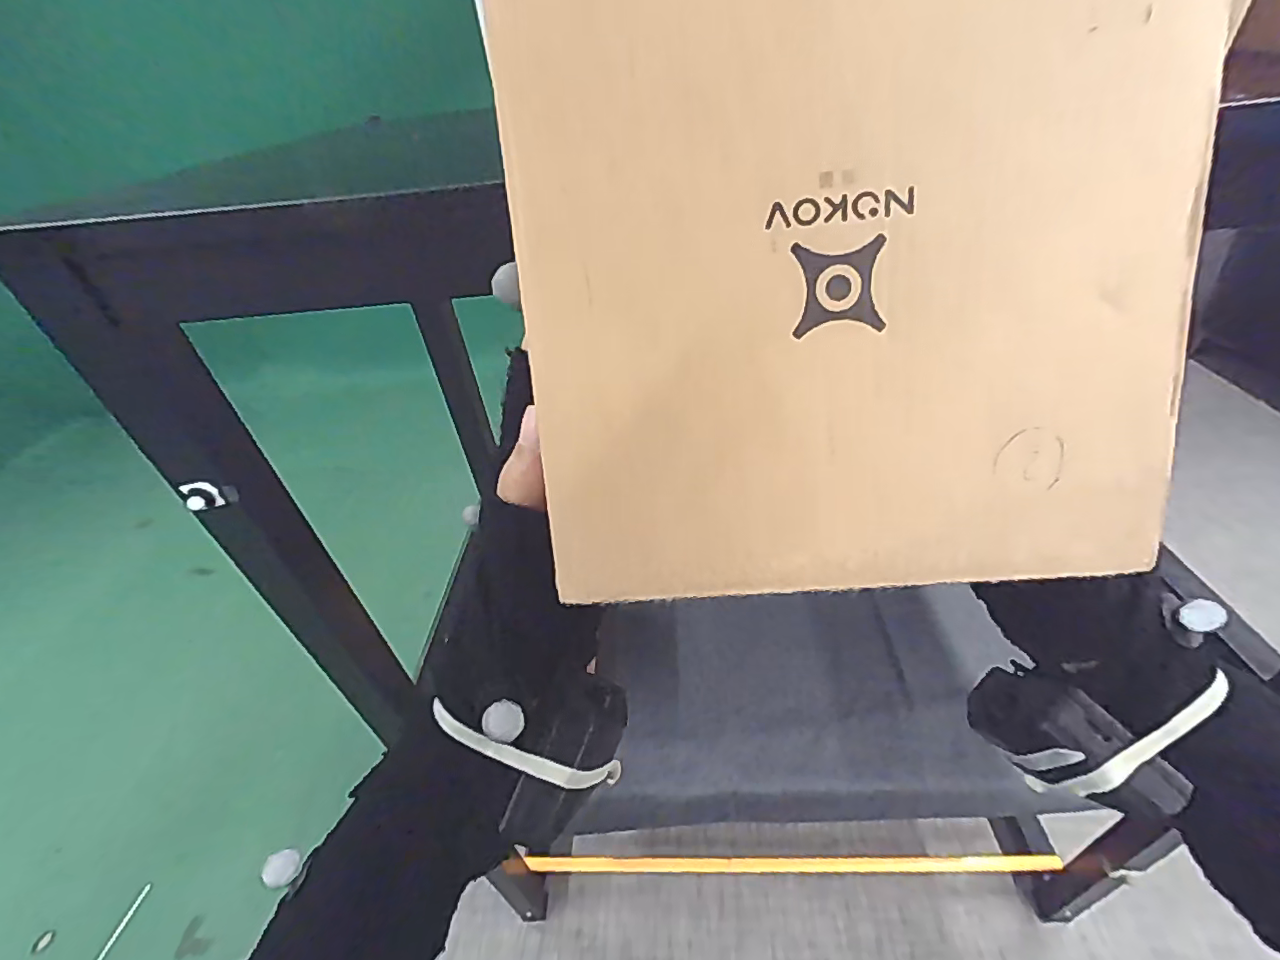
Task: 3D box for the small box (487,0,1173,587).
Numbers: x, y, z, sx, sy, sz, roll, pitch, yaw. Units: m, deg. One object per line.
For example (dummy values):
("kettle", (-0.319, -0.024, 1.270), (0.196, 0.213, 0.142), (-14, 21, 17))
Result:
("small box", (0.054, -0.072, 0.226), (0.168, 0.179, 0.176), (-4, 12, 5))
